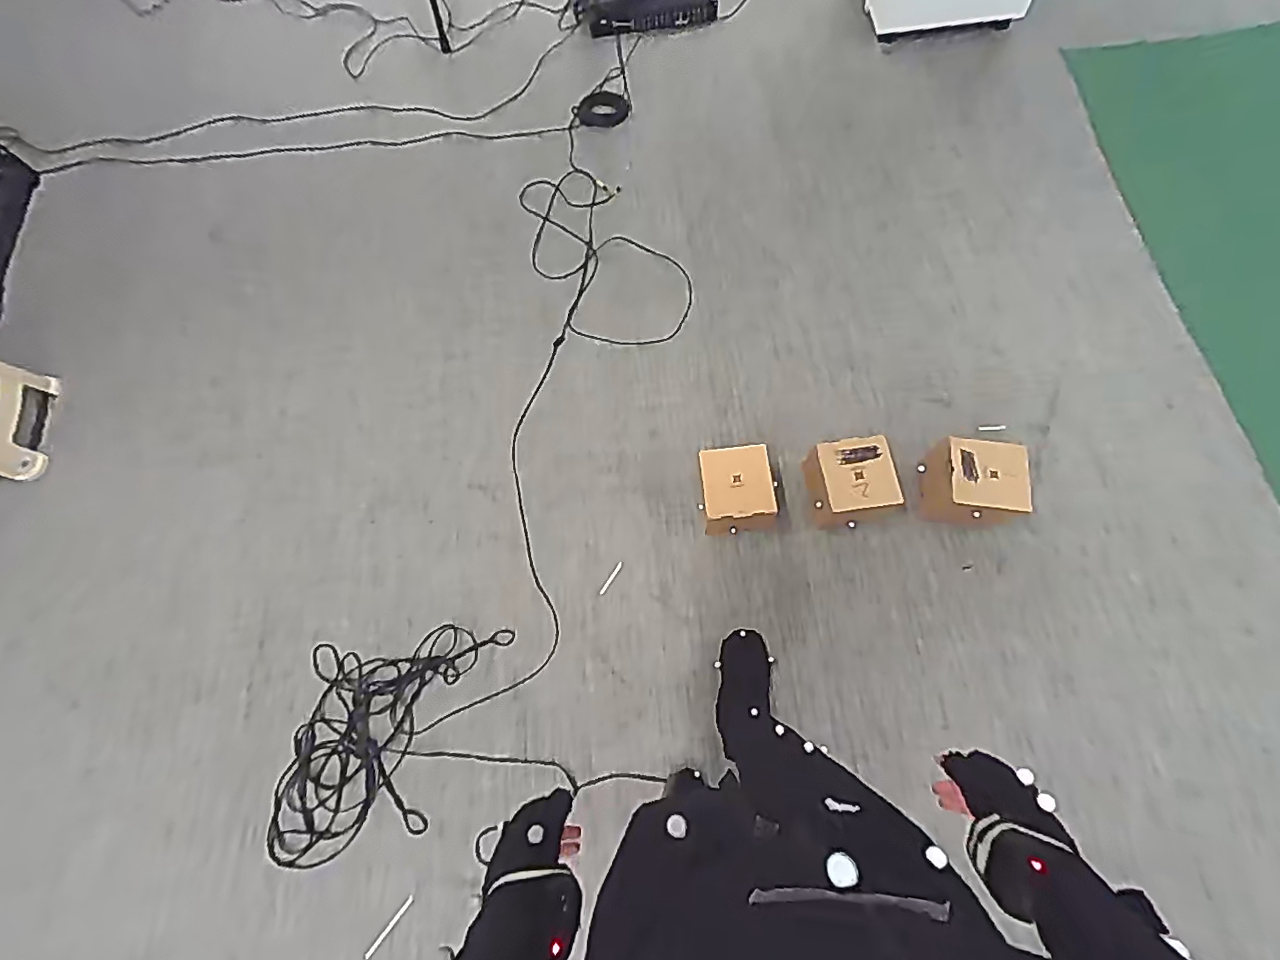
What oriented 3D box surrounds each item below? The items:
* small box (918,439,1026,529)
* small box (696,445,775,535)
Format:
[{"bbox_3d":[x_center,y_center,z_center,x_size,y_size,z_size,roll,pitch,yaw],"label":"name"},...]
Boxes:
[{"bbox_3d":[0.802,0.014,1.326,0.179,0.176,0.168,8,72,5],"label":"small box"},{"bbox_3d":[0.233,0.029,1.365,0.168,0.176,0.179,-6,71,2],"label":"small box"}]
